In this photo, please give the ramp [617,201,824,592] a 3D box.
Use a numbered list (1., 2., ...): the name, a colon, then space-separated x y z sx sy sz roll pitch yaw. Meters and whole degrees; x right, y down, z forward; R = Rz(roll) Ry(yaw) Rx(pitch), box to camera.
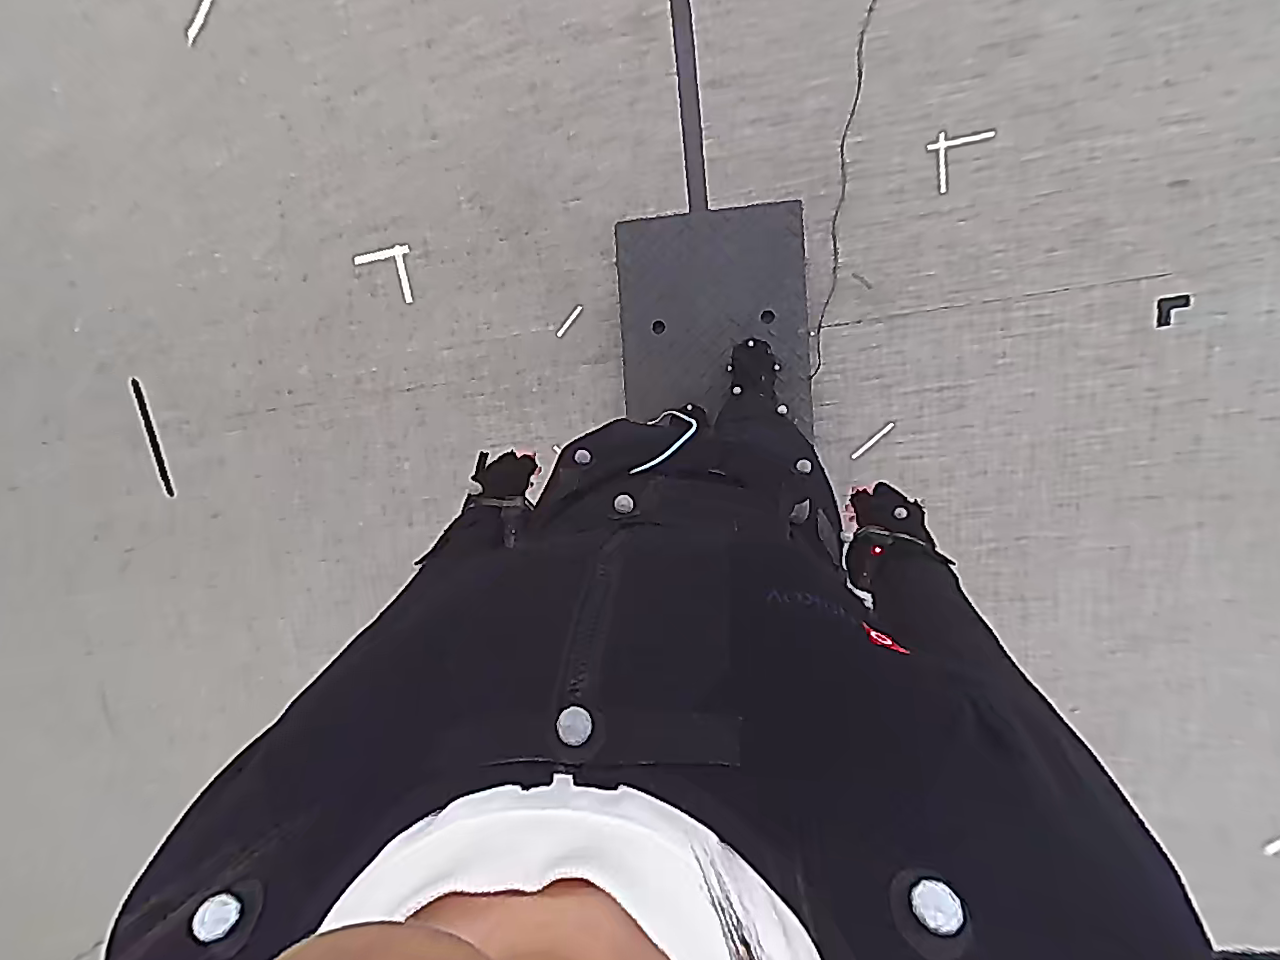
1. ramp: 0.204 -0.206 1.430 0.509 0.206 0.991 -5 100 10
